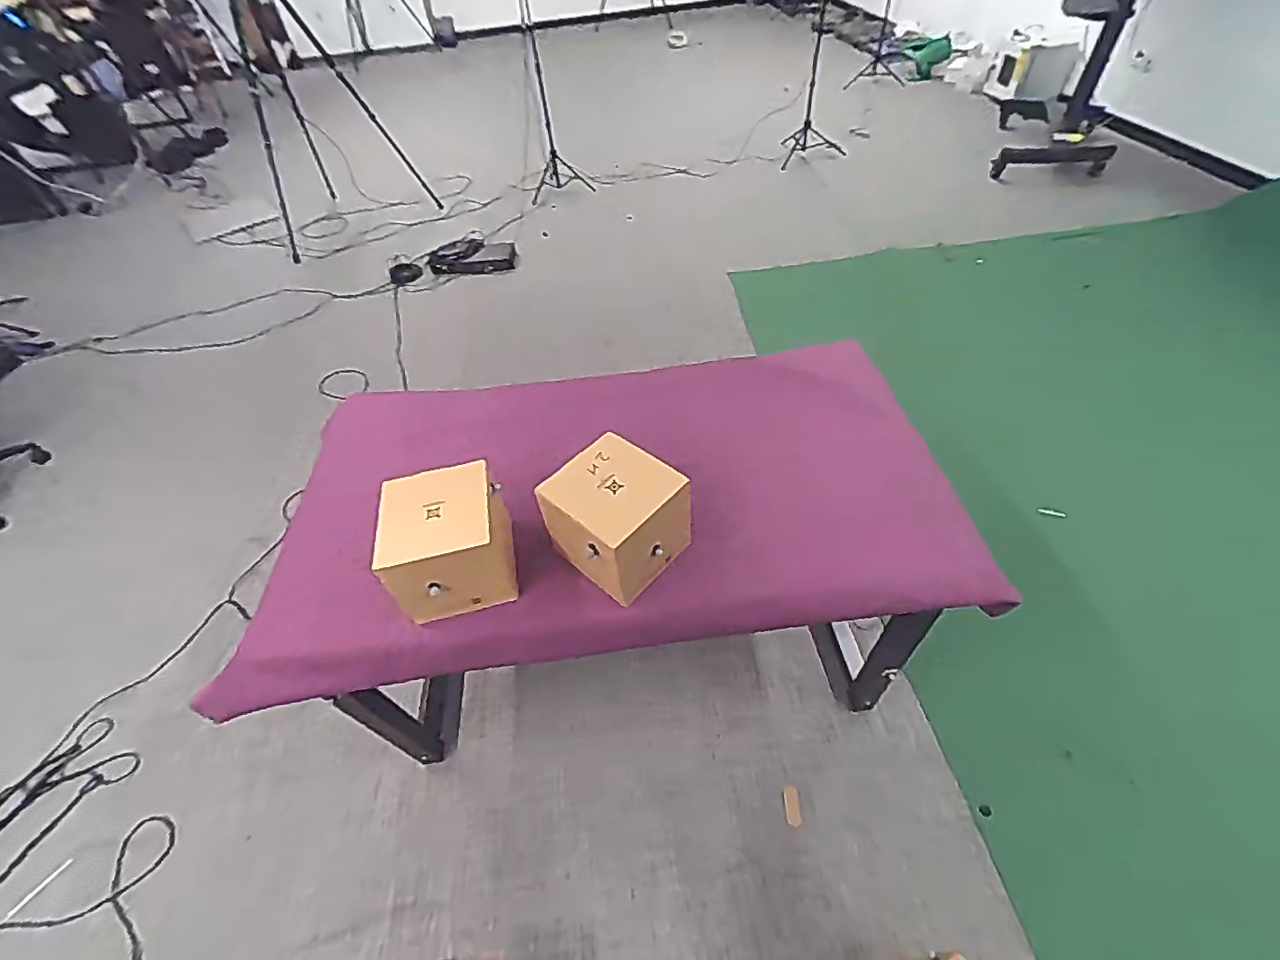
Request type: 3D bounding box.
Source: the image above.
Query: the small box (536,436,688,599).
[{"bbox_3d":[-0.037,0.066,0.875,0.179,0.176,0.168,33,58,30],"label":"small box"}]

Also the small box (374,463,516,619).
[{"bbox_3d":[-0.303,0.104,0.869,0.168,0.176,0.179,-13,47,-6],"label":"small box"}]
